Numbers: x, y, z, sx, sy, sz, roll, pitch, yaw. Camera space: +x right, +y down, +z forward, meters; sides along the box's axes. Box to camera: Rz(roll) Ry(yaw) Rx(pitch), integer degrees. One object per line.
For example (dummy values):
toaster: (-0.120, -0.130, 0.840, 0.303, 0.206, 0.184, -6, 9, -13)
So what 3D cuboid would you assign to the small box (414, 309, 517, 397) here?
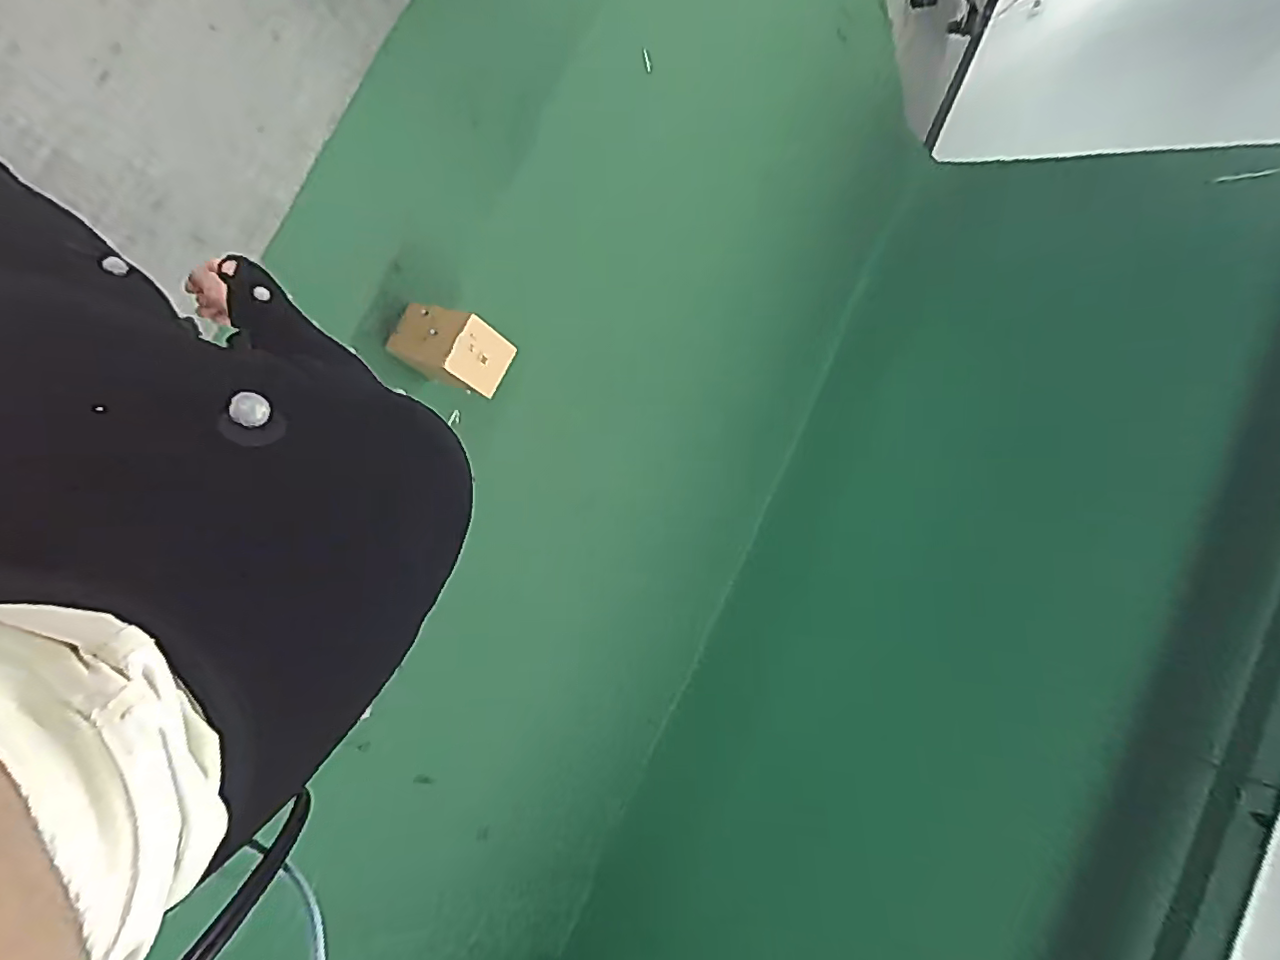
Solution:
small box: (-0.485, -0.357, 1.501, 0.179, 0.176, 0.168, 36, 78, -52)
